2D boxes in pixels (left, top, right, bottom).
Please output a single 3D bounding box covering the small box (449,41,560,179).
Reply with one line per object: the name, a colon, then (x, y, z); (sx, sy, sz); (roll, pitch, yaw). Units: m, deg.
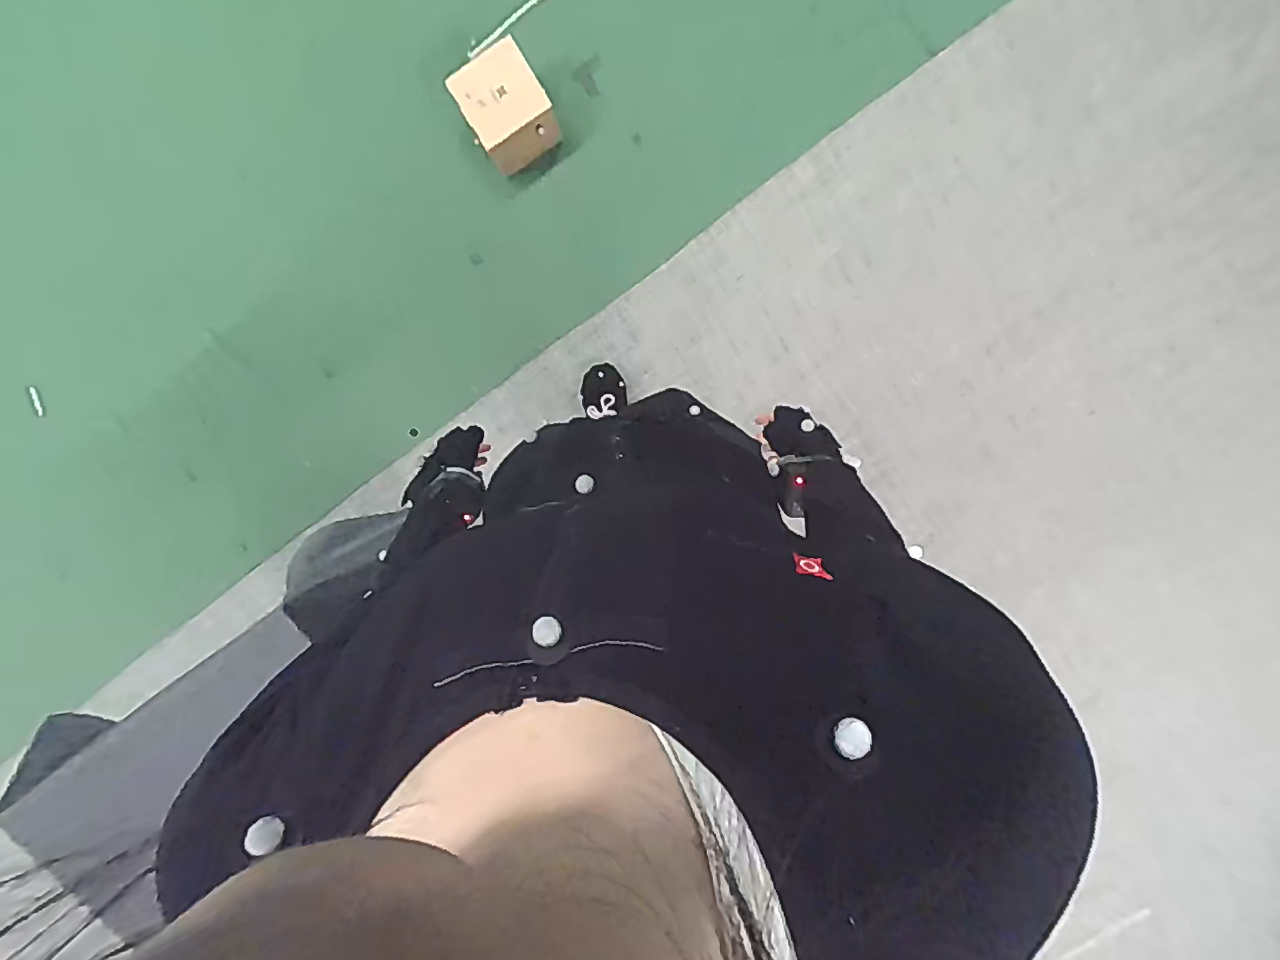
small box: (-0.300, -0.842, 1.249); (0.179, 0.176, 0.168); (-32, 98, 6)
